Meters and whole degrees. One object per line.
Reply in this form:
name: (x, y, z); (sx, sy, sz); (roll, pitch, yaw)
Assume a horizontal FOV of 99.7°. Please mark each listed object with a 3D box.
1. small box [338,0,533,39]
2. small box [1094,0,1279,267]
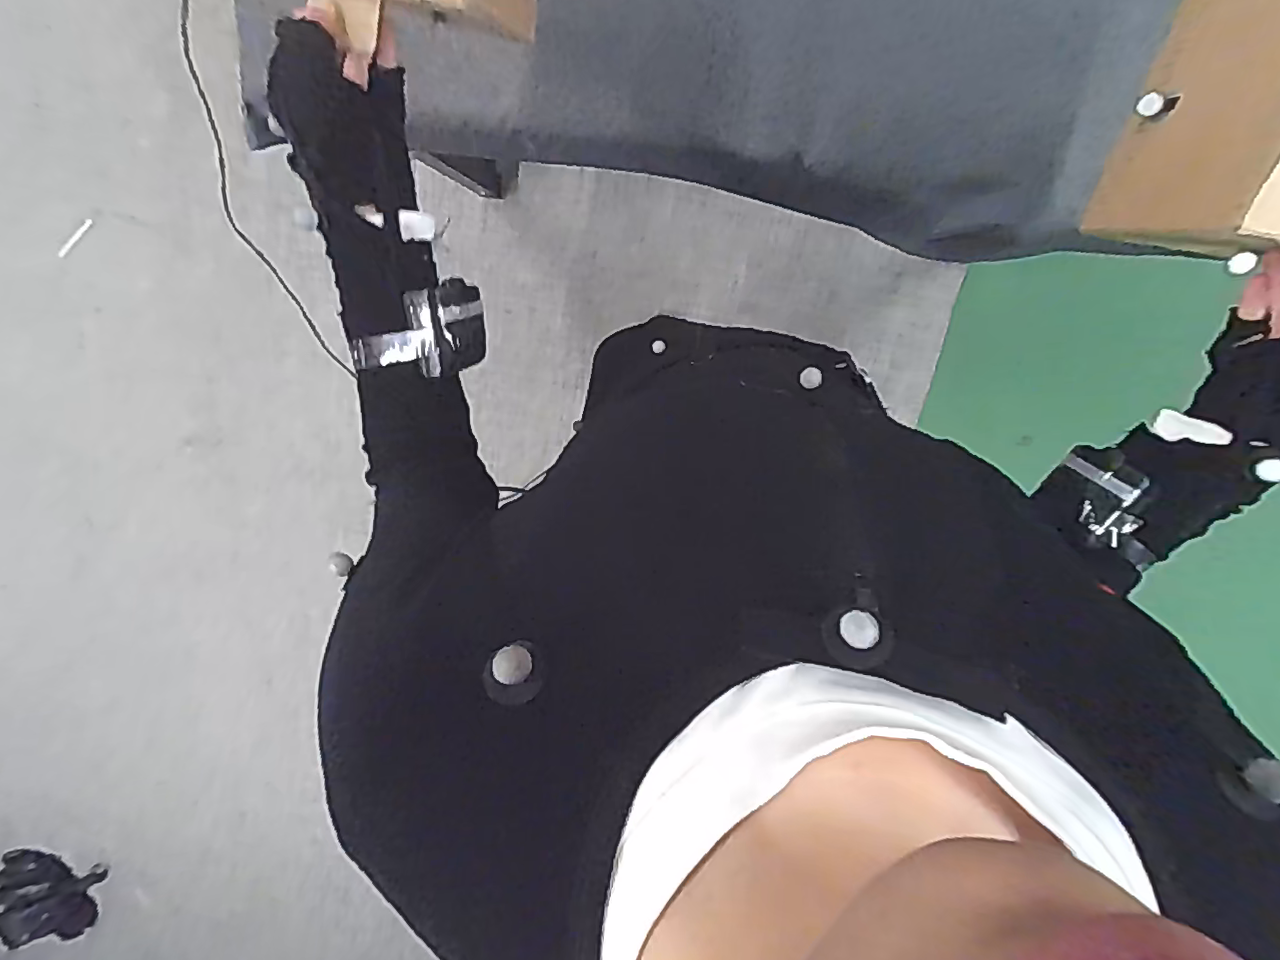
small box: (-0.161, -0.409, 0.339); (0.168, 0.176, 0.179); (10, 121, -2)
small box: (0.462, -0.240, 0.361); (0.168, 0.176, 0.179); (11, 116, 4)
